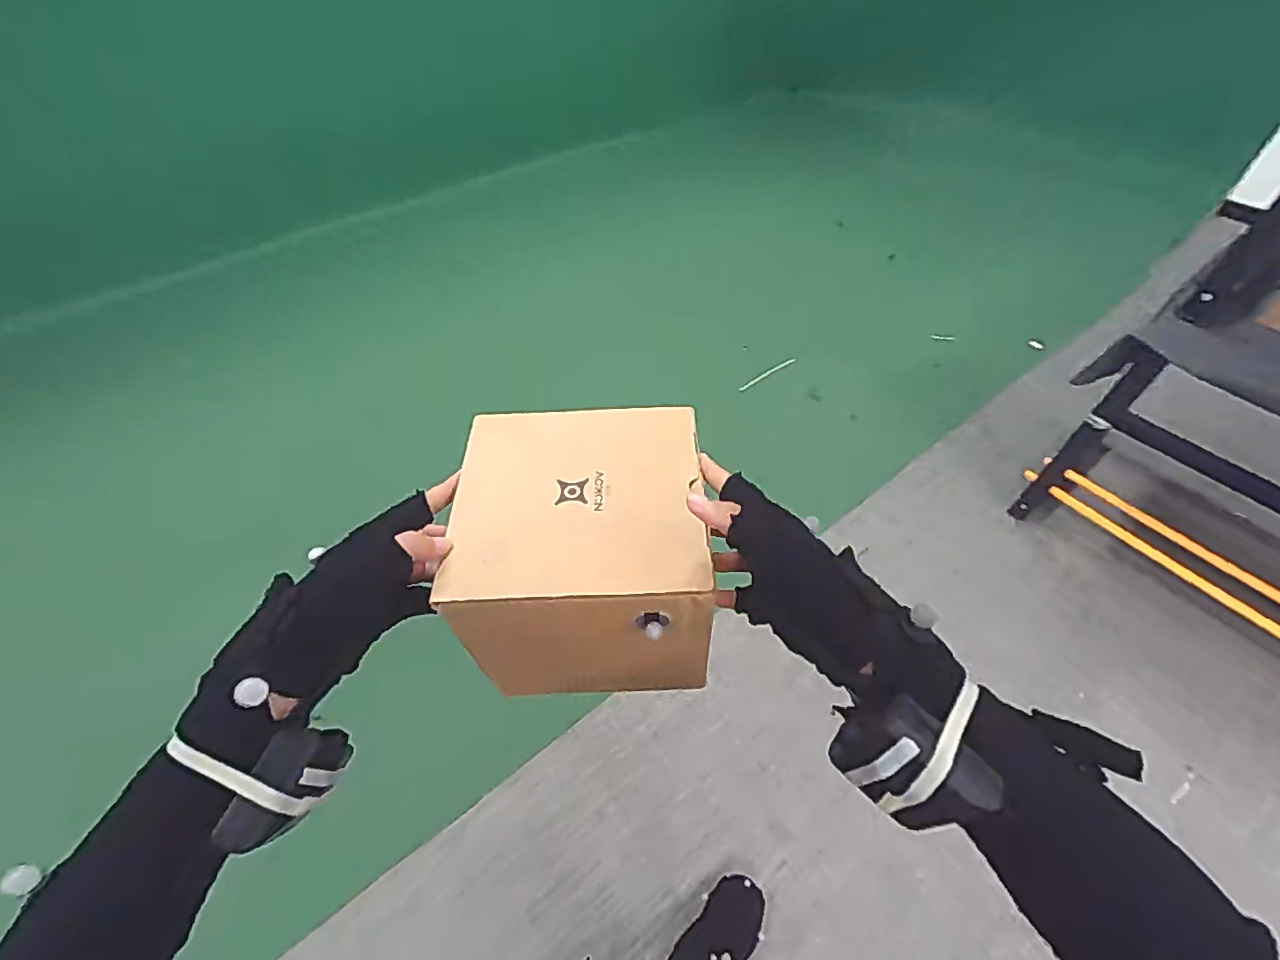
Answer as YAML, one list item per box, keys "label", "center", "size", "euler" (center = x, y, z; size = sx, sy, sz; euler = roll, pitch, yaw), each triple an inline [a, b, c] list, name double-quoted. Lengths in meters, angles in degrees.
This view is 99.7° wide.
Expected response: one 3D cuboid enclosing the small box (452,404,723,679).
- label: "small box"
  center: [-0.031, 0.056, 0.450]
  size: [0.179, 0.176, 0.168]
  euler: [-2, 51, 0]
